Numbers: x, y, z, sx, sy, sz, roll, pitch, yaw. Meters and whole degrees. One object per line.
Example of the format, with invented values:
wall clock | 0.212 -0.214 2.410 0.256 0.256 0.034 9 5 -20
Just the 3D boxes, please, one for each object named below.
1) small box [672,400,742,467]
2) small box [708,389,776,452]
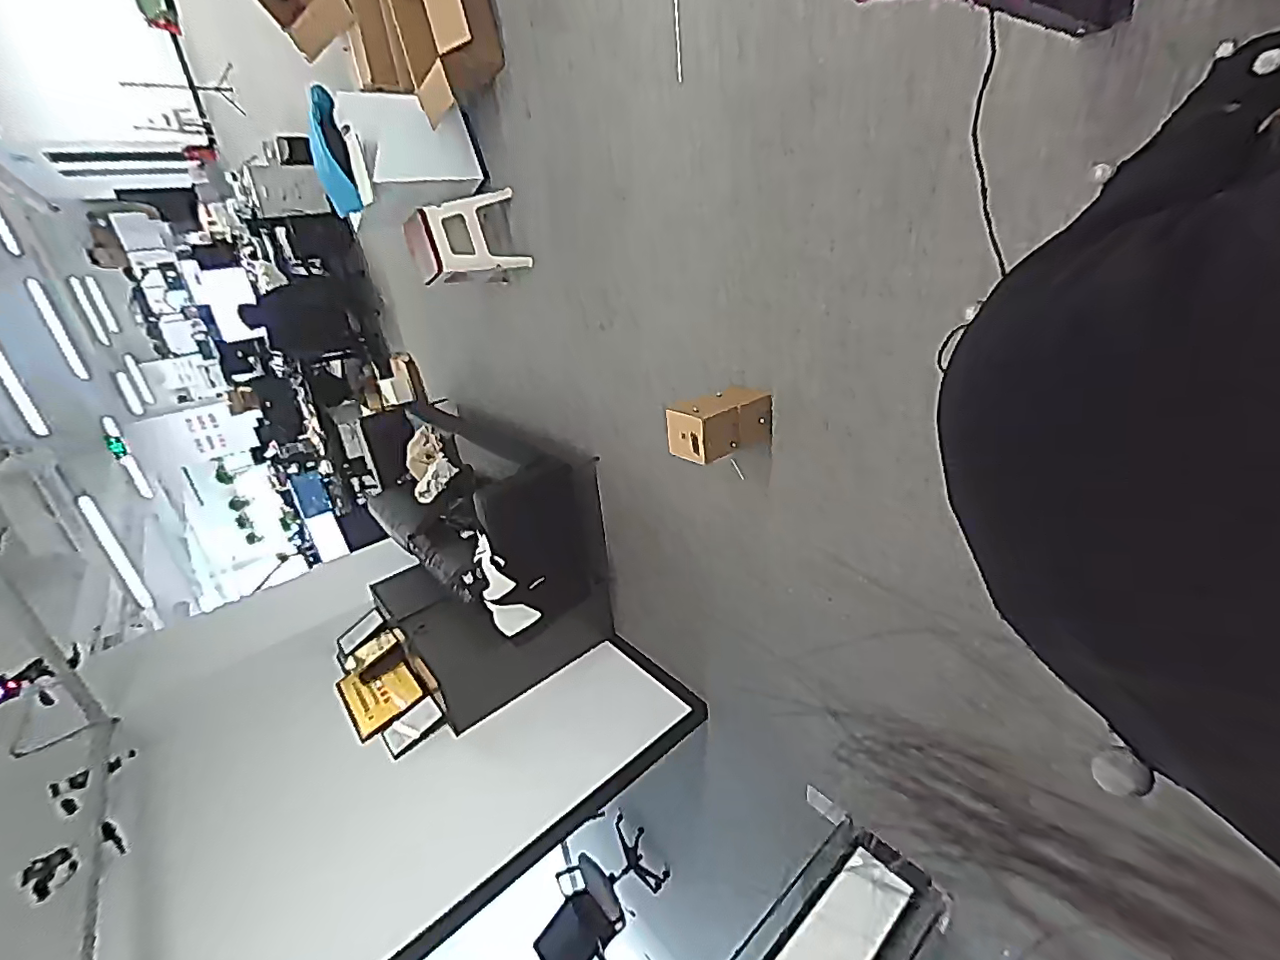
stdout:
small box | 0.233 -0.164 1.847 0.179 0.176 0.168 24 128 47
small box | 0.362 -0.219 1.932 0.179 0.176 0.168 24 129 45
